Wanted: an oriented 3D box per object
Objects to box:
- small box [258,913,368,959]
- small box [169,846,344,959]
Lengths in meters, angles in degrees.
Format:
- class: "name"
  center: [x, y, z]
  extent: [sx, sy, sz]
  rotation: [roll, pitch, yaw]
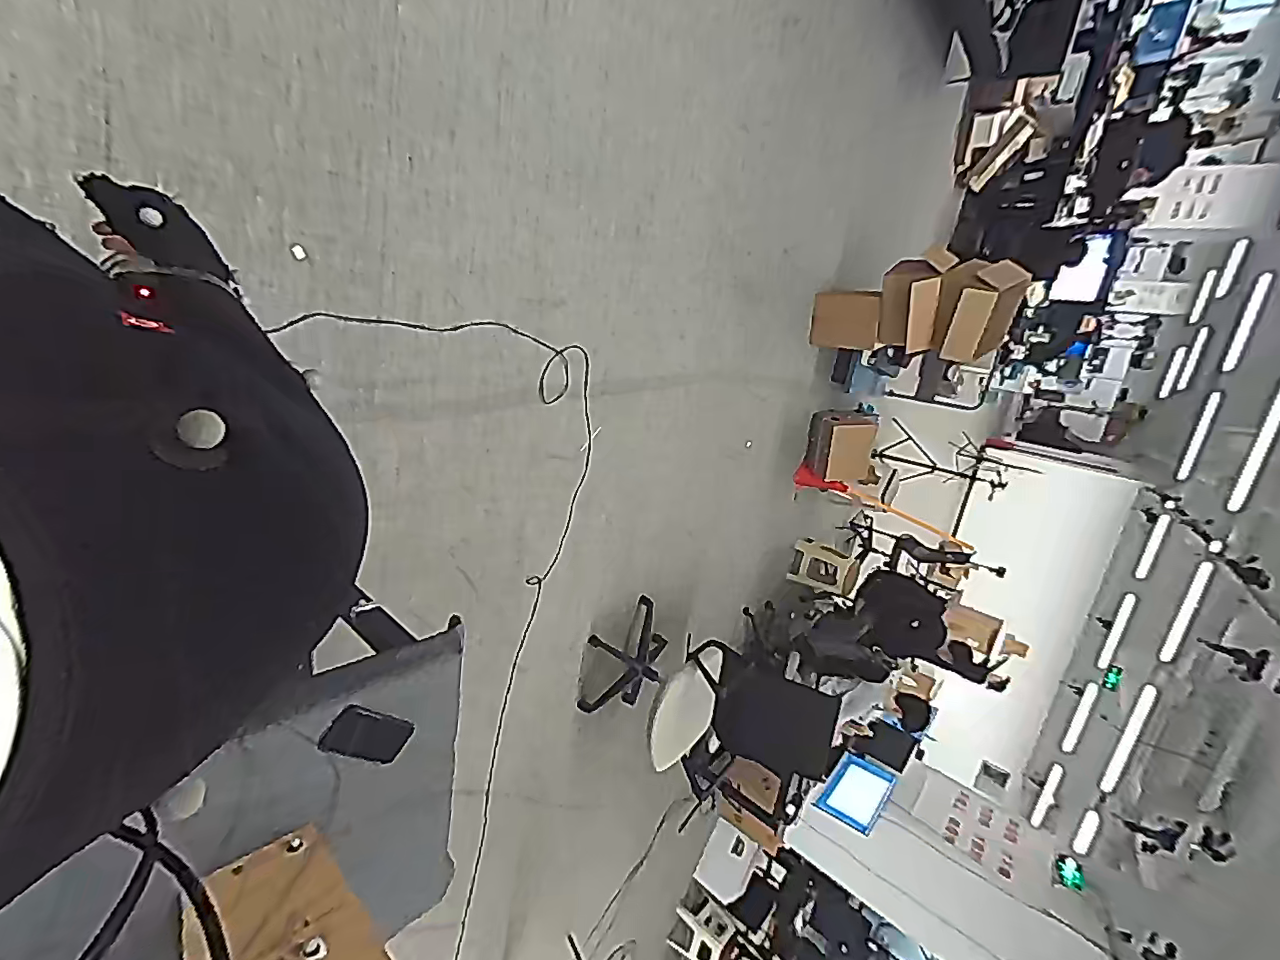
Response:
- class: "small box"
  center: [-0.426, 0.712, 0.675]
  extent: [0.168, 0.176, 0.179]
  rotation: [-8, 111, -51]
- class: "small box"
  center: [-0.549, 0.672, 0.773]
  extent: [0.168, 0.176, 0.179]
  rotation: [-6, 111, -51]
